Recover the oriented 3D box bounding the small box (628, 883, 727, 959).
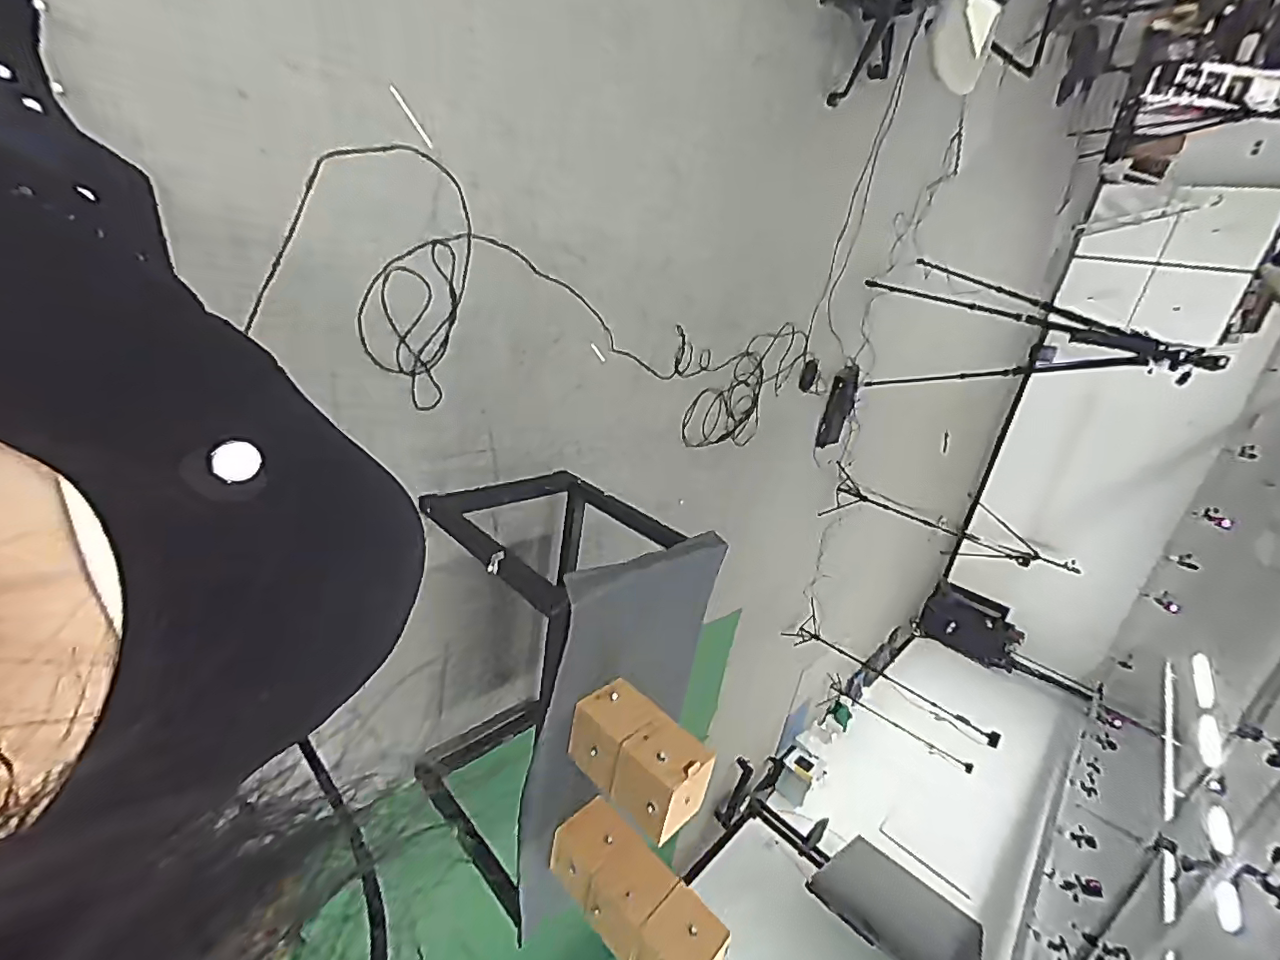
[{"bbox_3d":[0.092,1.180,1.362,0.179,0.176,0.168,-18,123,-46],"label":"small box"}]

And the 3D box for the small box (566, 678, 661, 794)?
[{"bbox_3d":[-0.073,0.656,1.406,0.168,0.176,0.179,-12,119,-47],"label":"small box"}]

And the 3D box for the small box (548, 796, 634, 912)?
[{"bbox_3d":[-0.147,1.069,1.559,0.179,0.176,0.168,-13,120,-47],"label":"small box"}]

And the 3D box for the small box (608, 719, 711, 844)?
[{"bbox_3d":[0.042,0.710,1.306,0.168,0.176,0.179,-10,119,-47],"label":"small box"}]

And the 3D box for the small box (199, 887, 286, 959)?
[{"bbox_3d":[-1.237,1.416,1.677,0.168,0.176,0.179,12,102,-51],"label":"small box"}]
